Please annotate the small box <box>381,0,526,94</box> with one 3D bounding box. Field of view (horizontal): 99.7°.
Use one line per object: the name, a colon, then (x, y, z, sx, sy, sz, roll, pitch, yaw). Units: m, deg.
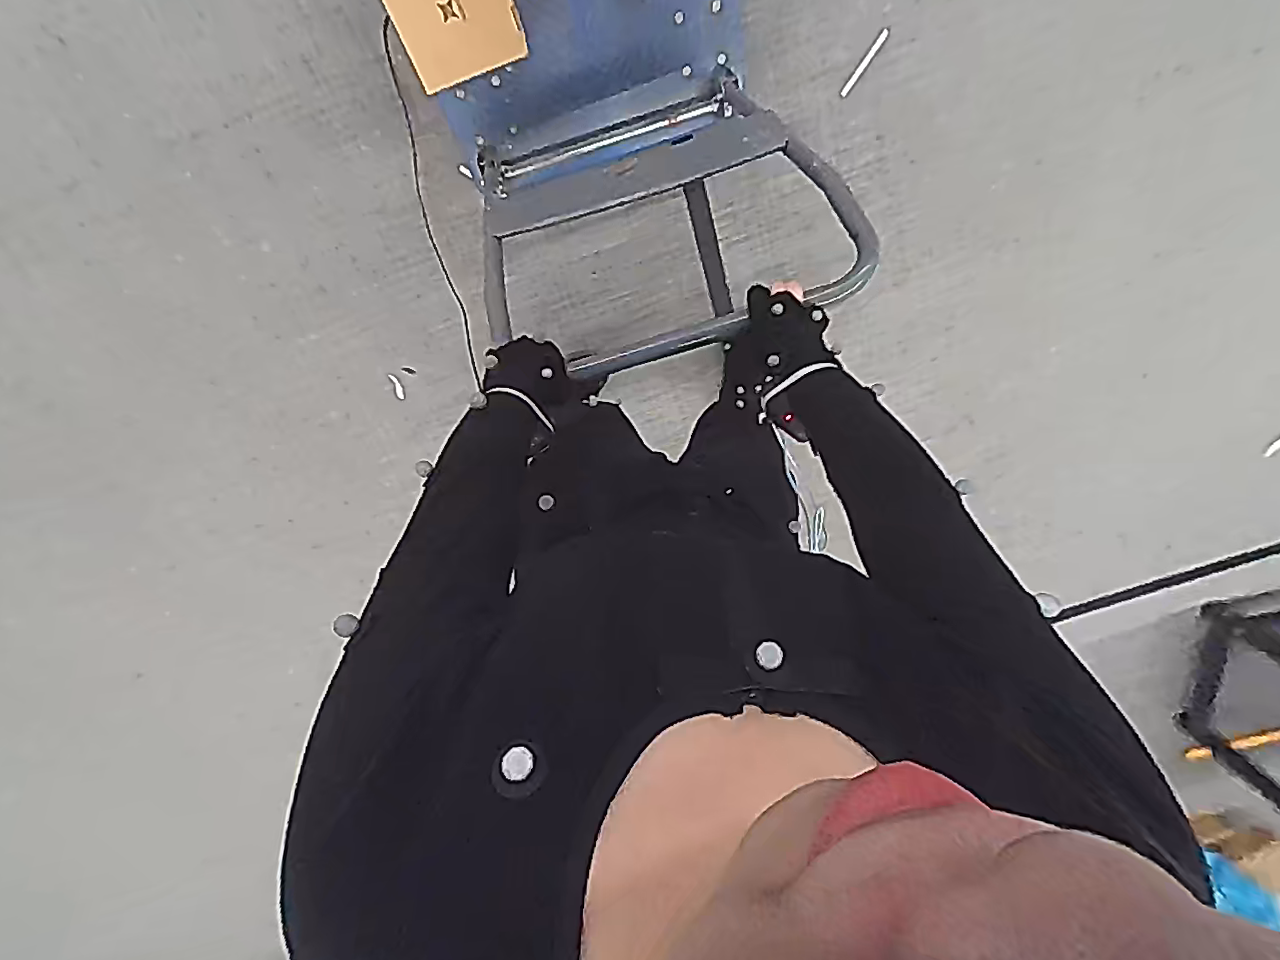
small box: (-0.293, -0.745, 0.852, 0.179, 0.176, 0.168, -20, 136, 4)
